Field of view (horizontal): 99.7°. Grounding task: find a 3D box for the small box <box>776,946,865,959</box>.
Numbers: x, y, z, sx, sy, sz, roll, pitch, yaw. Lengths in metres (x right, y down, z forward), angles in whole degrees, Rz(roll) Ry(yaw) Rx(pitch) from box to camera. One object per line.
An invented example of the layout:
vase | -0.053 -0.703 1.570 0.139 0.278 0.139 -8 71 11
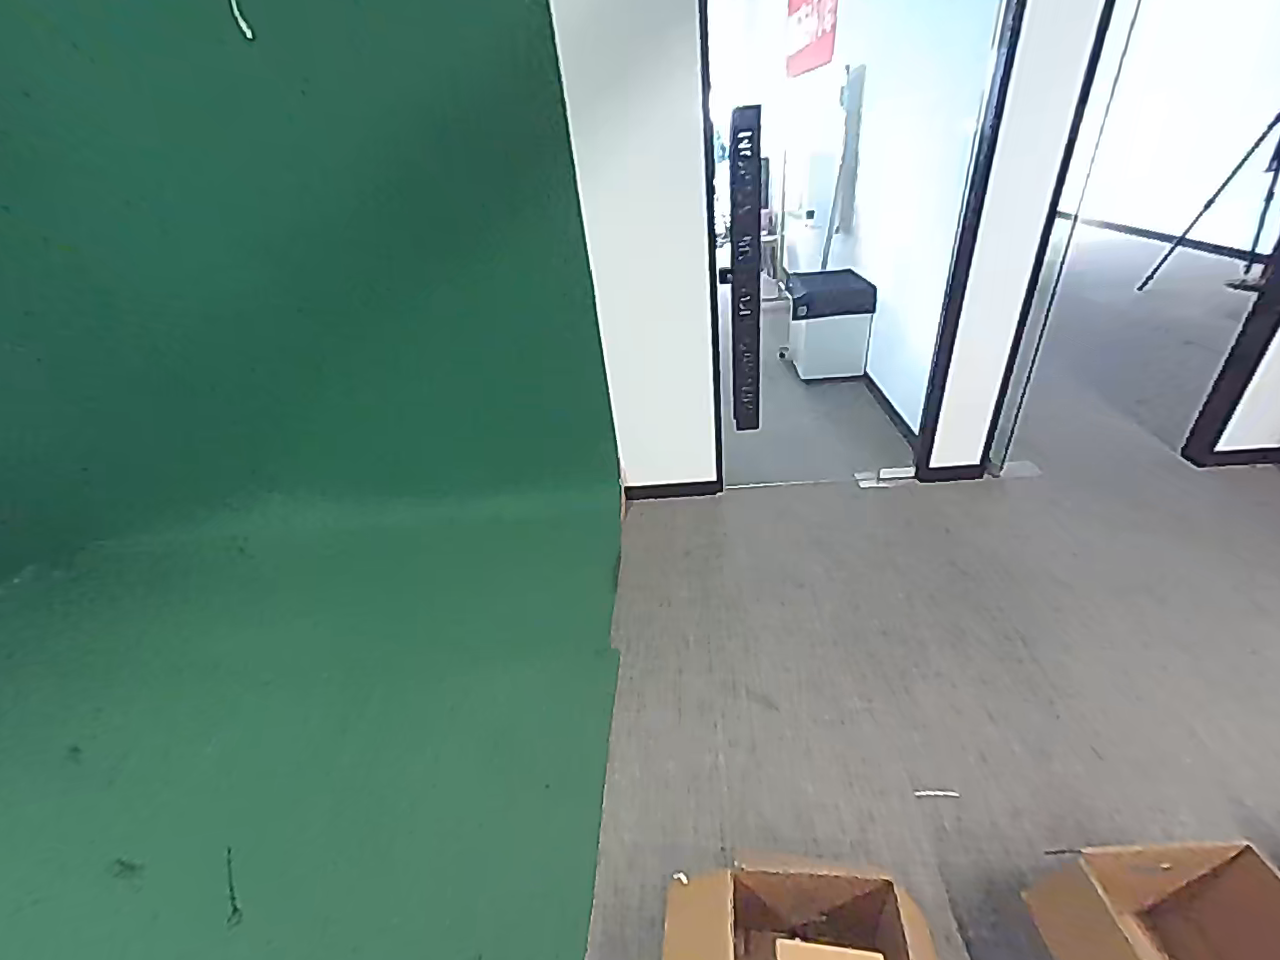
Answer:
small box | 0.309 0.905 0.880 0.179 0.176 0.168 0 32 10
